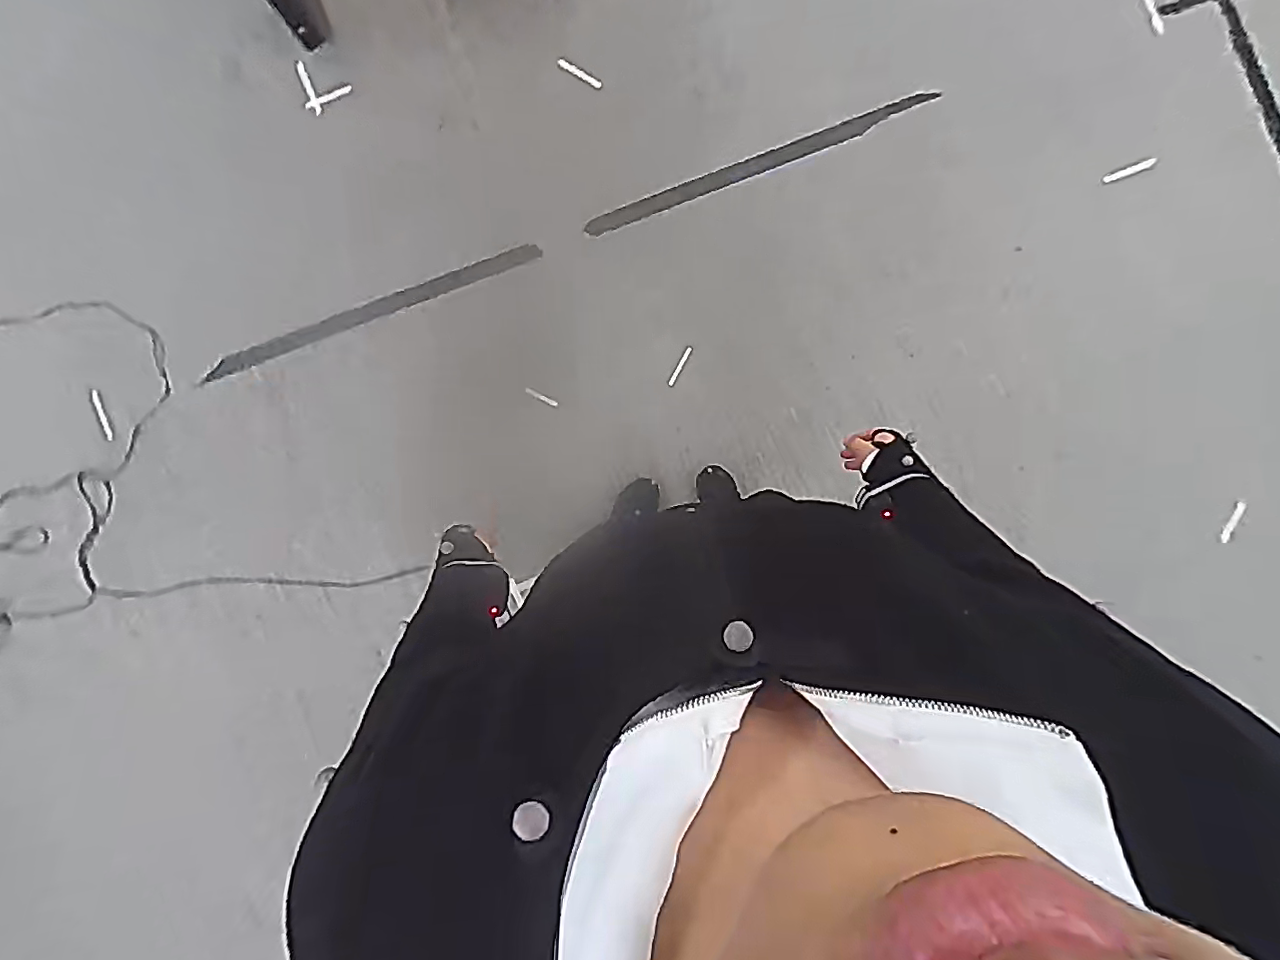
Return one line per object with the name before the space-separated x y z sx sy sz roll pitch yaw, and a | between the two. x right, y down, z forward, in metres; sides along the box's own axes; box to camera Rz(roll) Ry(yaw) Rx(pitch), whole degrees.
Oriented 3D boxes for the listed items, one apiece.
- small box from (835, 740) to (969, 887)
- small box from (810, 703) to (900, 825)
small box | 0.546 0.697 1.150 0.168 0.176 0.179 -24 90 1
small box | 0.540 0.681 1.314 0.168 0.176 0.179 -22 91 1
